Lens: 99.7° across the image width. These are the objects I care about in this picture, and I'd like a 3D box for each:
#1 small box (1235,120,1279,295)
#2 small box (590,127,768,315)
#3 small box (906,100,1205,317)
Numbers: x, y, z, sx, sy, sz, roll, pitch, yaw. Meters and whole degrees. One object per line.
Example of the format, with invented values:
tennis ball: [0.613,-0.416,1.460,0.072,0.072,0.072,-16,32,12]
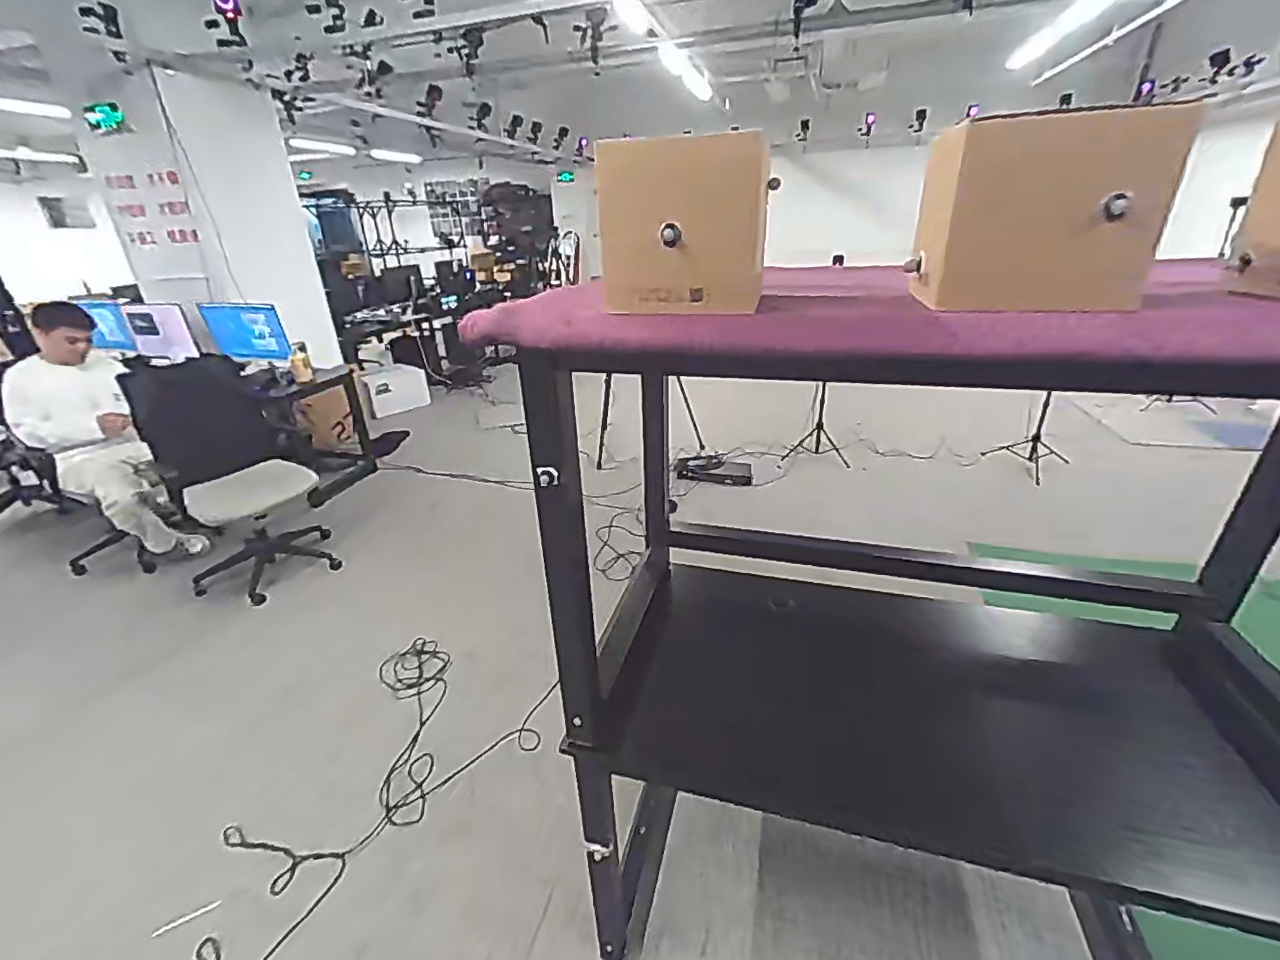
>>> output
small box: [0.707,-0.253,0.486,0.179,0.176,0.168,6,25,17]
small box: [0.053,-0.286,0.612,0.168,0.176,0.179,5,27,13]
small box: [0.390,-0.266,0.551,0.179,0.176,0.168,3,26,14]
